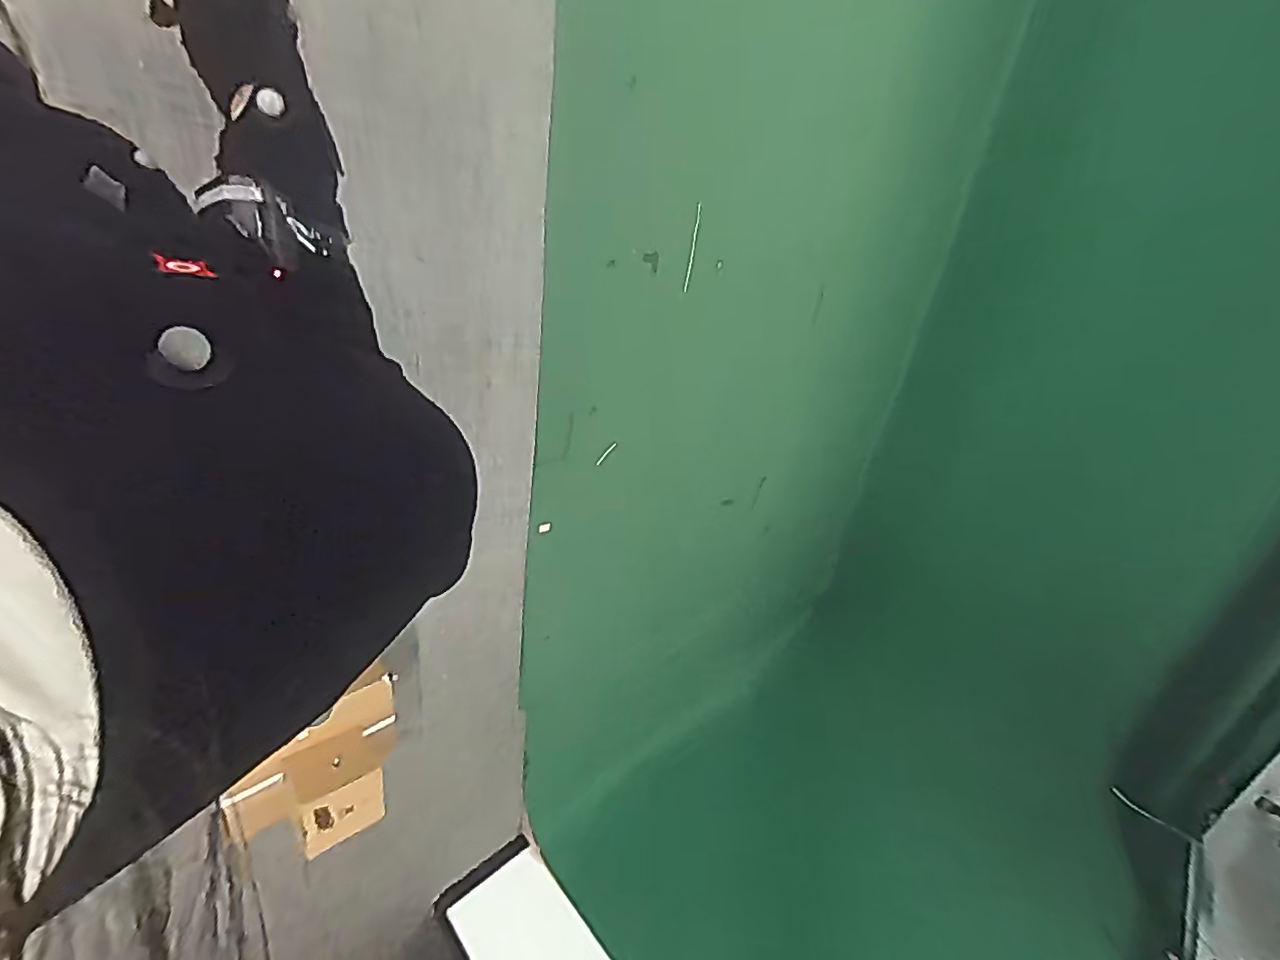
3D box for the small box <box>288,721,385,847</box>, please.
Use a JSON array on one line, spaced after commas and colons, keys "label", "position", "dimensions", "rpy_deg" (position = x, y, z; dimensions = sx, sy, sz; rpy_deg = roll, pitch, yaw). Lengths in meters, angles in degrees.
[{"label": "small box", "position": [-0.752, 0.740, 1.336], "dimensions": [0.179, 0.176, 0.168], "rpy_deg": [-10, 116, -45]}]
